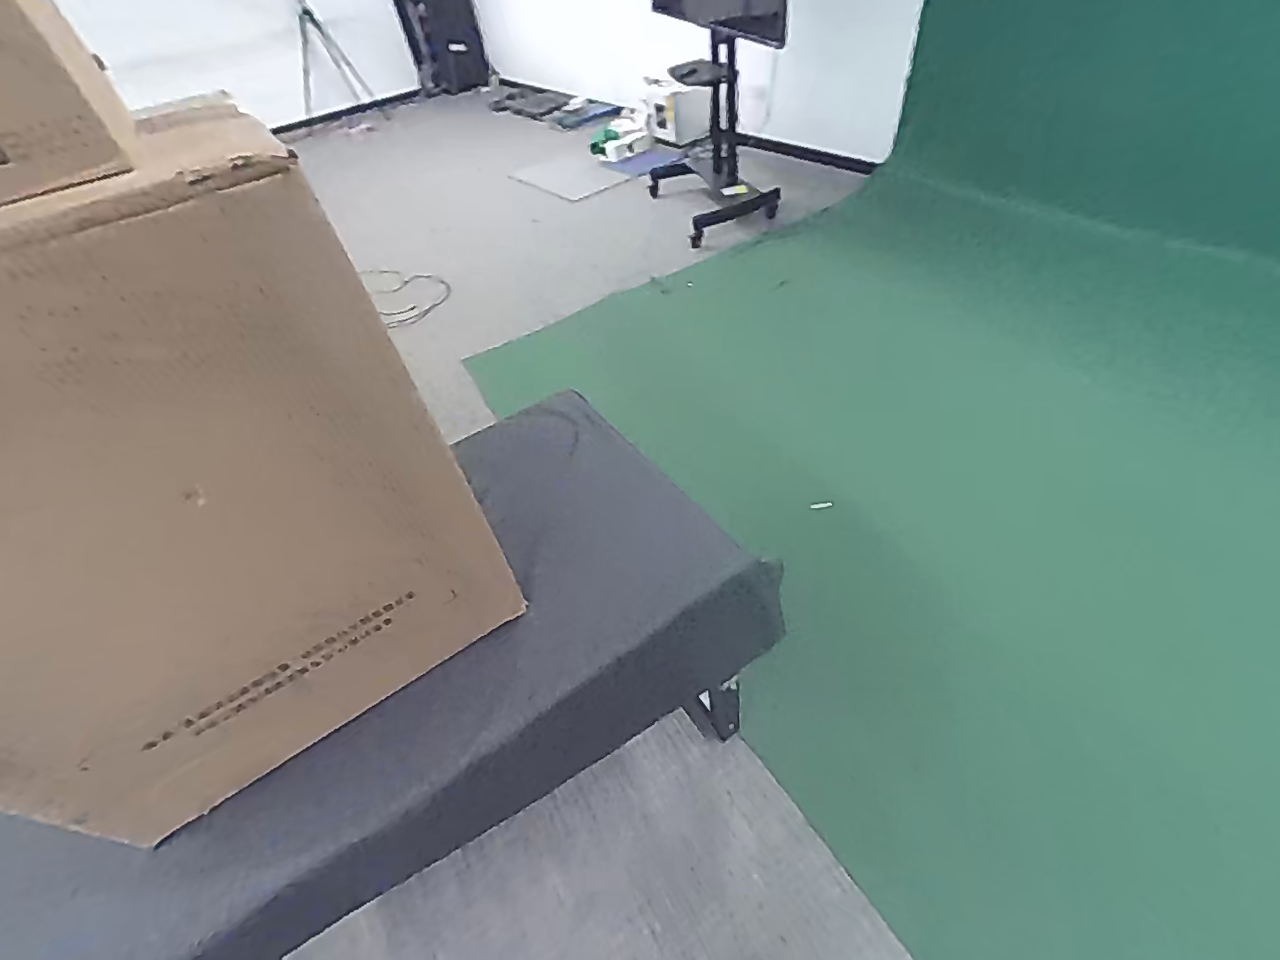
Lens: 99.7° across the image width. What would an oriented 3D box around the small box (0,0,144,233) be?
[{"bbox_3d":[-0.456,-0.256,0.333,0.168,0.176,0.179,-29,49,-19],"label":"small box"}]
